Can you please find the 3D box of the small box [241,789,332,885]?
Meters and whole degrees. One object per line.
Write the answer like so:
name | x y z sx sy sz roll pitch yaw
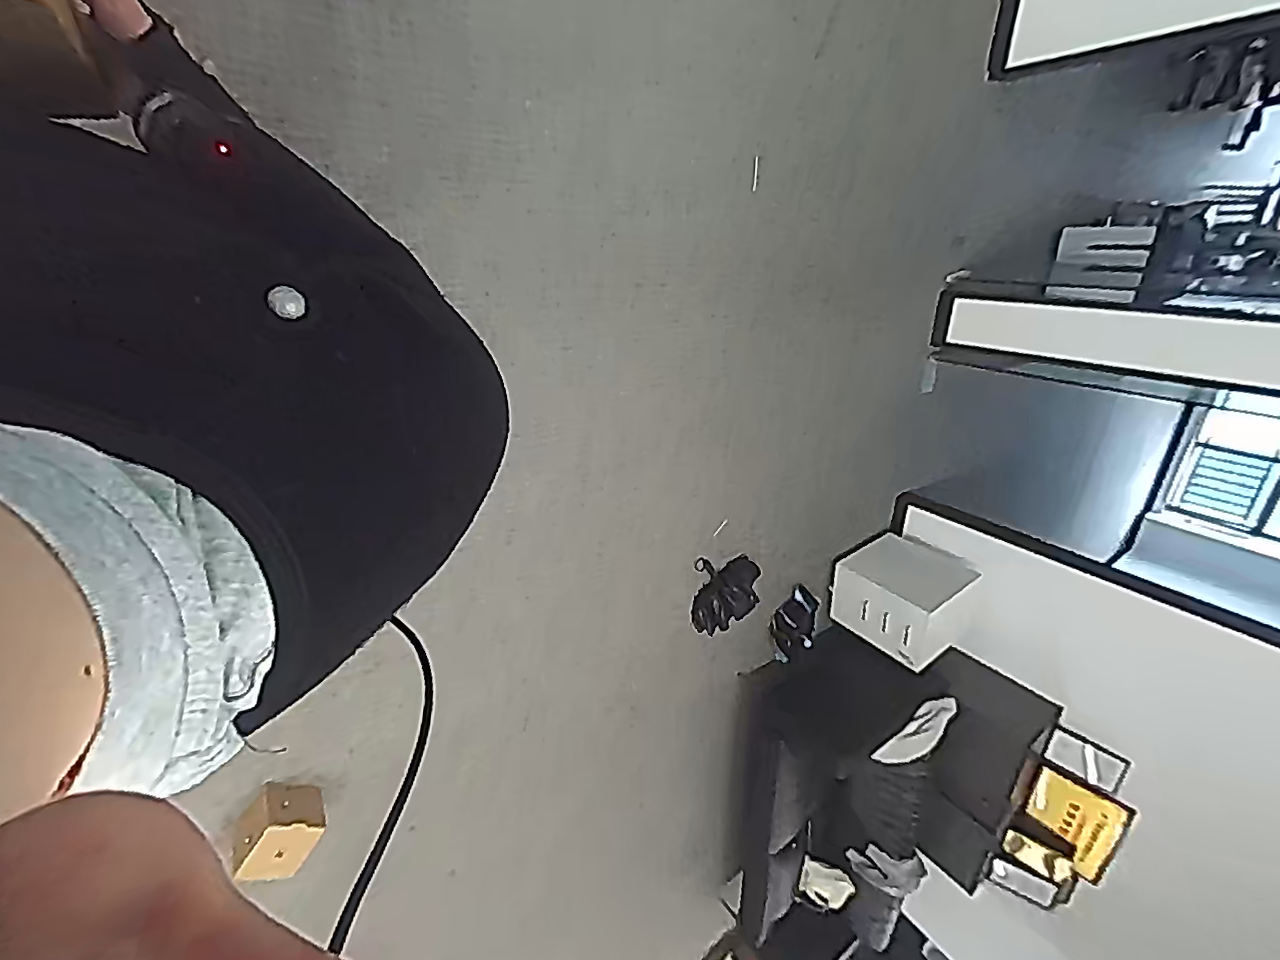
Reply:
small box | -1.059 1.058 1.614 0.168 0.176 0.179 36 86 -41
